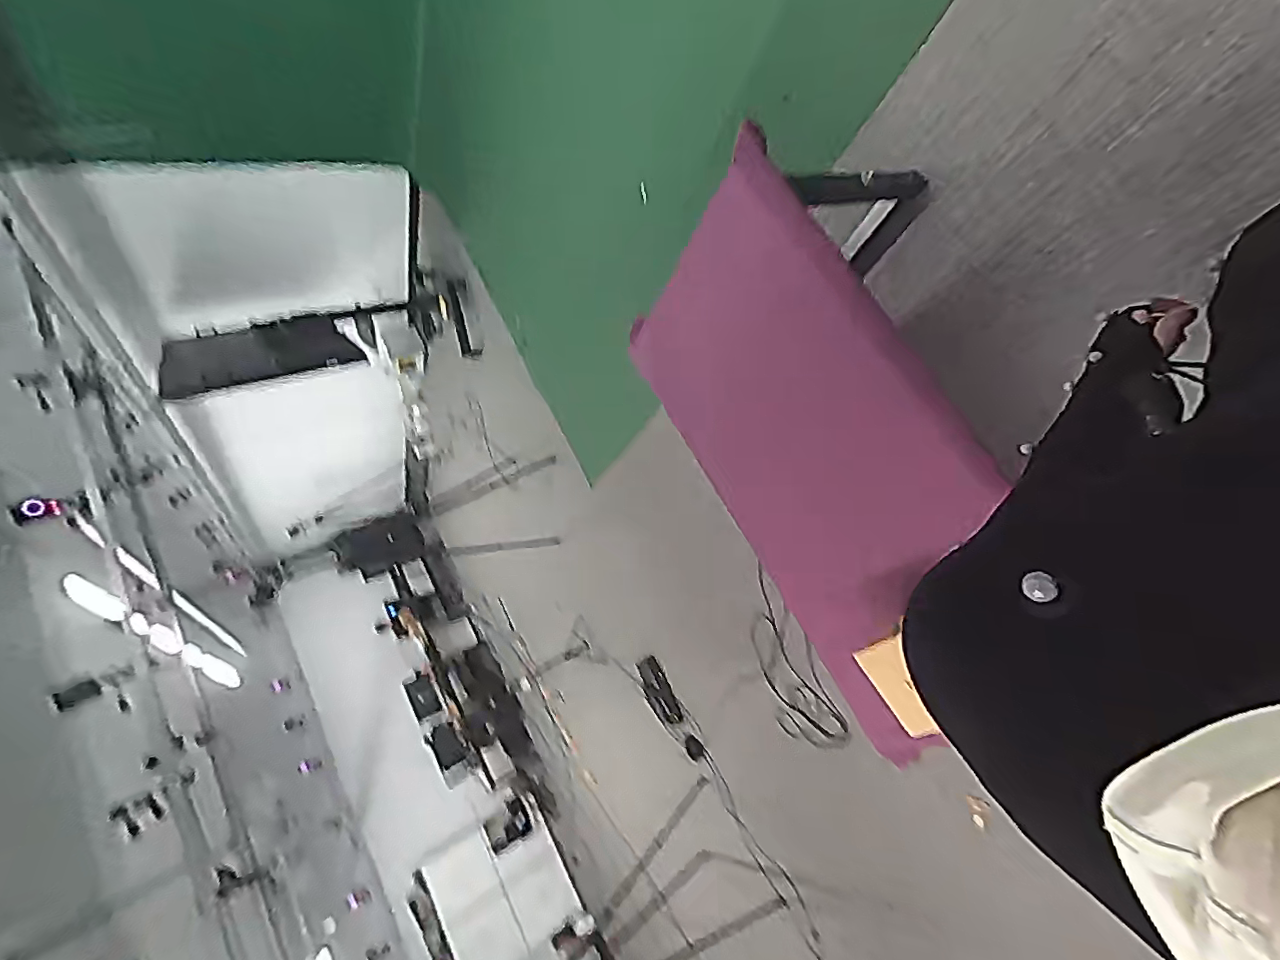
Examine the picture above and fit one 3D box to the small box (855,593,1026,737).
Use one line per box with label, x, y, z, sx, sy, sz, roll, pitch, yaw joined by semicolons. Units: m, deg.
small box;0.538;0.331;0.974;0.168;0.176;0.179;57;146;19
